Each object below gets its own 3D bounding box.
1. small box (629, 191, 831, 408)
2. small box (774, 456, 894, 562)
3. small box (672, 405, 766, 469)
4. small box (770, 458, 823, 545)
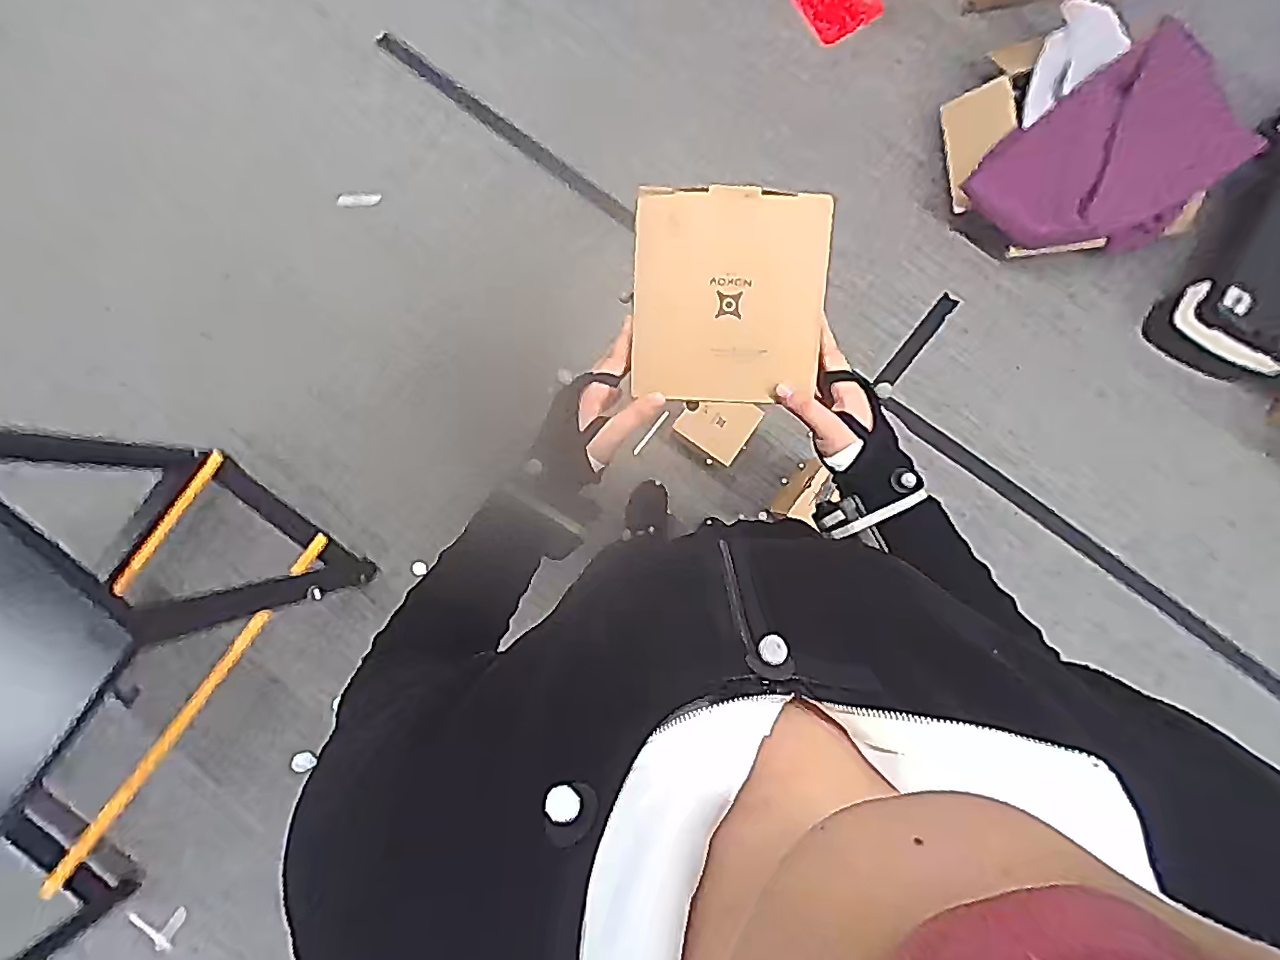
[{"bbox_3d":[0.074,-0.167,0.542,0.168,0.176,0.179,1,102,-1],"label":"small box"},{"bbox_3d":[0.434,0.065,1.244,0.179,0.176,0.168,37,91,2],"label":"small box"},{"bbox_3d":[0.201,-0.142,1.423,0.179,0.176,0.168,36,90,3],"label":"small box"},{"bbox_3d":[0.458,0.062,1.410,0.168,0.176,0.179,40,91,2],"label":"small box"}]
